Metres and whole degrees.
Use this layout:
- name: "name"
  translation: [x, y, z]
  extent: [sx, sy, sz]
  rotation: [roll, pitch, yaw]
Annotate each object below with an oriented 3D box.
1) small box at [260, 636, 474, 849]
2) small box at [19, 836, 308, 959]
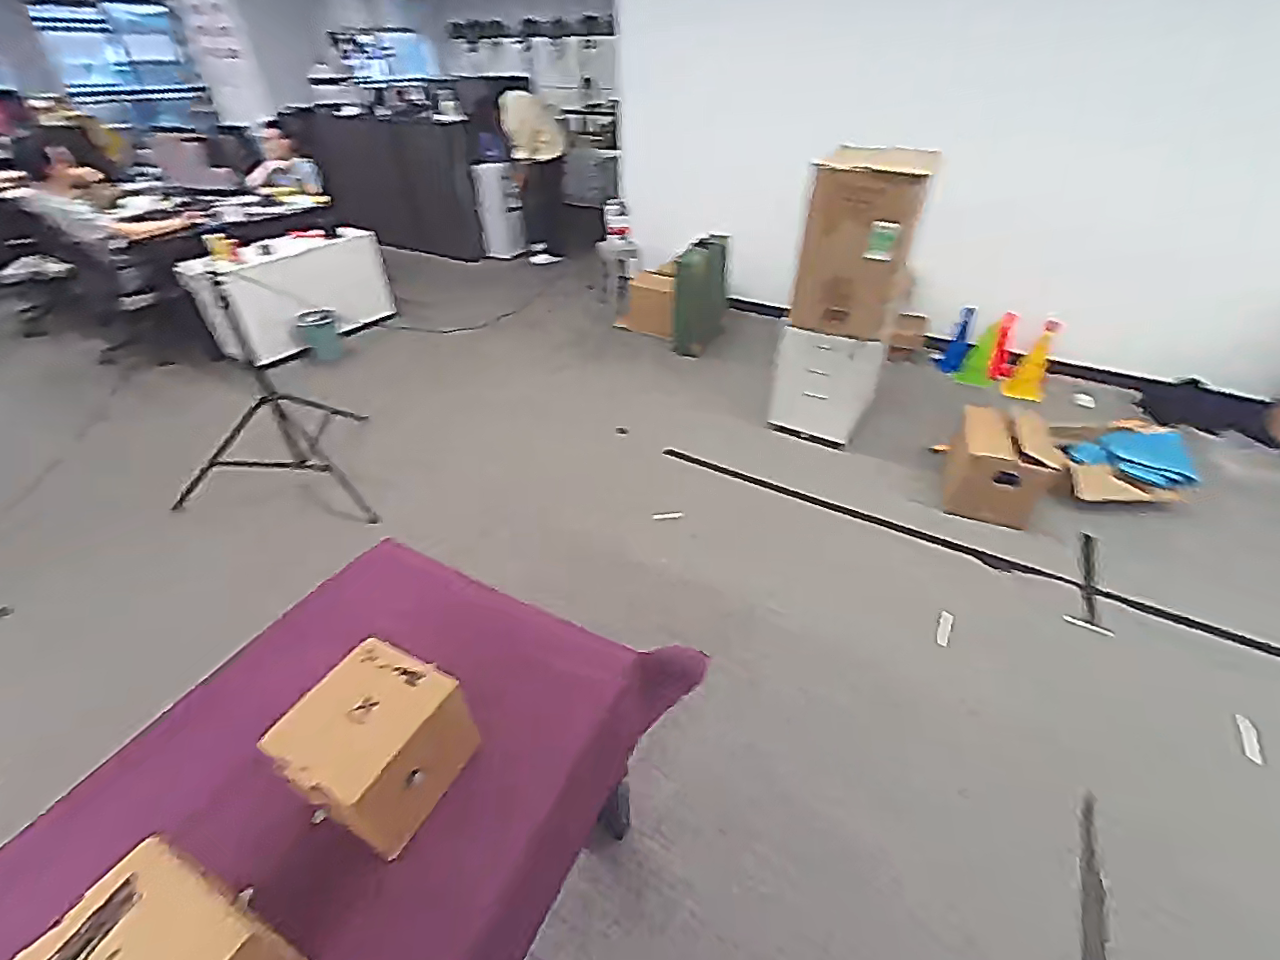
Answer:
- name: "small box"
  translation: [-0.353, 0.355, 0.736]
  extent: [0.168, 0.176, 0.179]
  rotation: [17, 42, 21]
- name: "small box"
  translation: [-0.479, 0.510, 0.538]
  extent: [0.179, 0.176, 0.168]
  rotation: [18, 41, 21]
